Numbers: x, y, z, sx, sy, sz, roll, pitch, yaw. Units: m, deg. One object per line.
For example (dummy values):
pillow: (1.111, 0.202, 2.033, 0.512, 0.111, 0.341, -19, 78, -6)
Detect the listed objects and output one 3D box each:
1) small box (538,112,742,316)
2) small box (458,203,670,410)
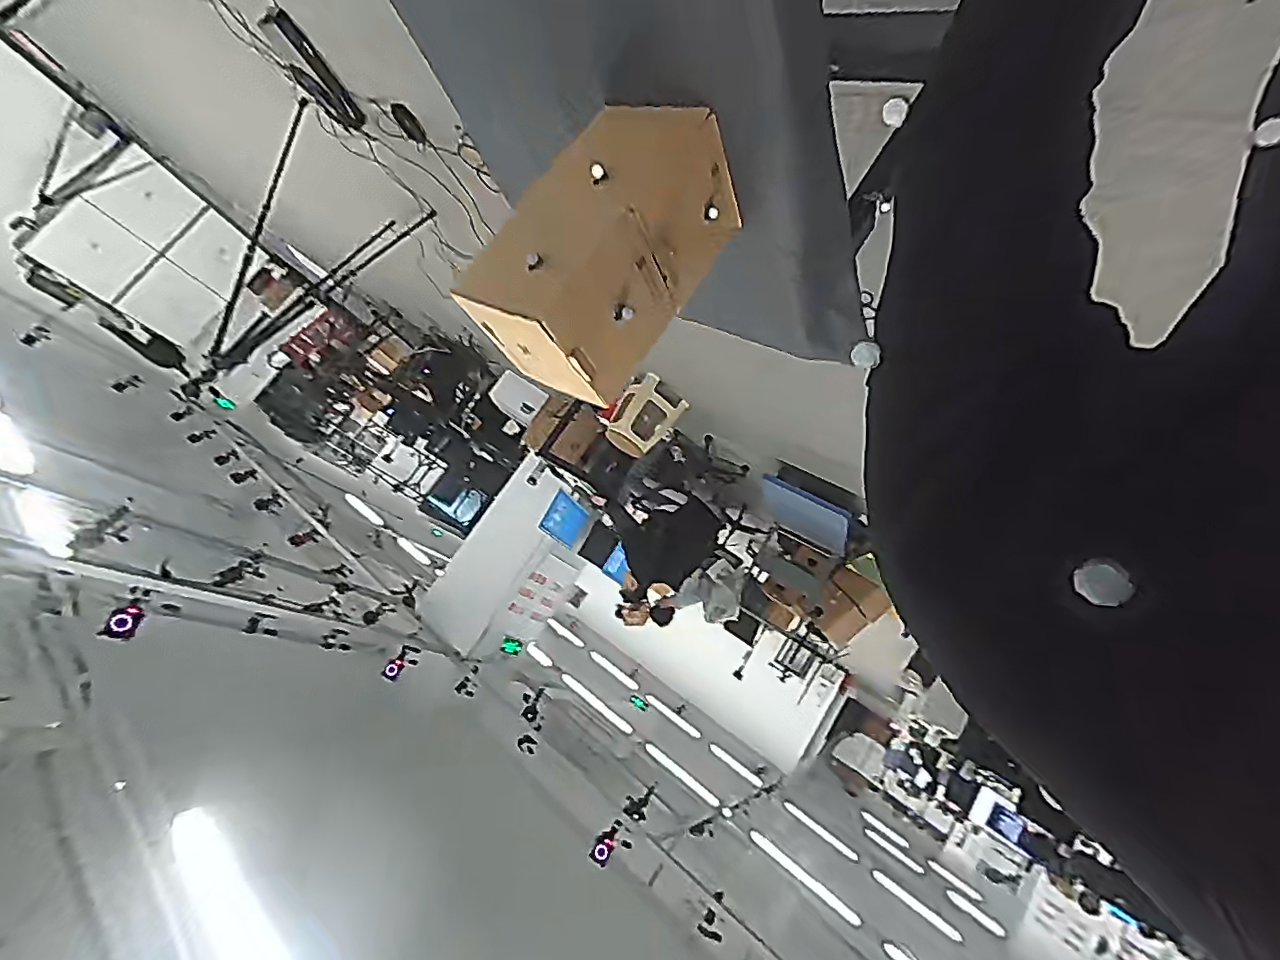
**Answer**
small box: (0.007, -0.352, 0.715, 0.179, 0.176, 0.168, 26, 167, 33)
small box: (-0.082, -0.220, 0.679, 0.179, 0.176, 0.168, 25, 166, 34)
